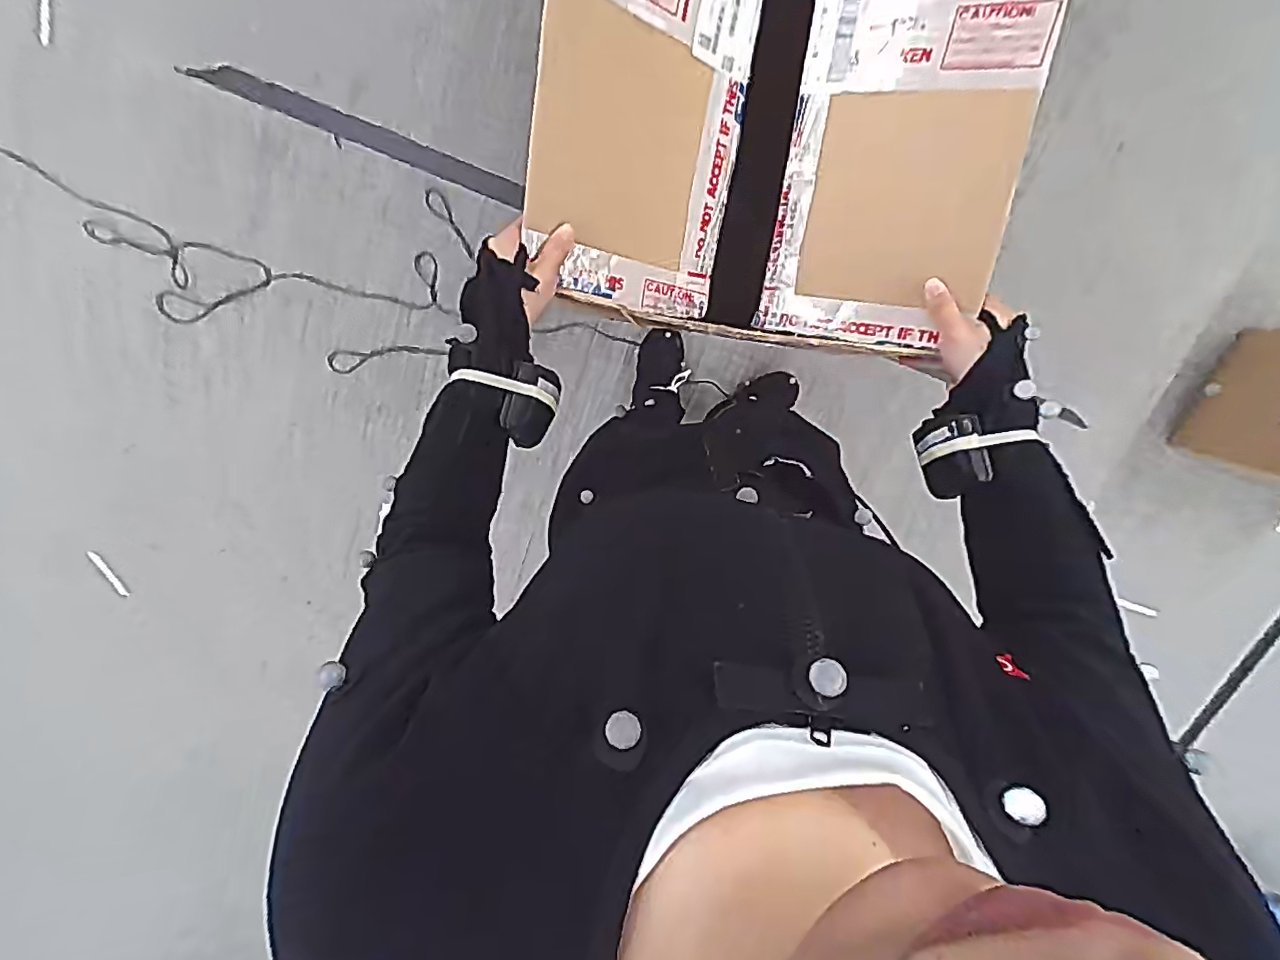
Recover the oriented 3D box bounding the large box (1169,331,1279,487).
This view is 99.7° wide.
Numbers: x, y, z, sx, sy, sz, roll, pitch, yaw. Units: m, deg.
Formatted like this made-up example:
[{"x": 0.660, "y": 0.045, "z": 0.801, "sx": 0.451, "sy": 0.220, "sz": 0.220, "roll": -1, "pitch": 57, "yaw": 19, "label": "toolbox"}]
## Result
[{"x": 1.554, "y": -0.113, "z": 1.186, "sx": 0.408, "sy": 0.320, "sz": 0.320, "roll": 18, "pitch": 106, "yaw": -4, "label": "large box"}]
